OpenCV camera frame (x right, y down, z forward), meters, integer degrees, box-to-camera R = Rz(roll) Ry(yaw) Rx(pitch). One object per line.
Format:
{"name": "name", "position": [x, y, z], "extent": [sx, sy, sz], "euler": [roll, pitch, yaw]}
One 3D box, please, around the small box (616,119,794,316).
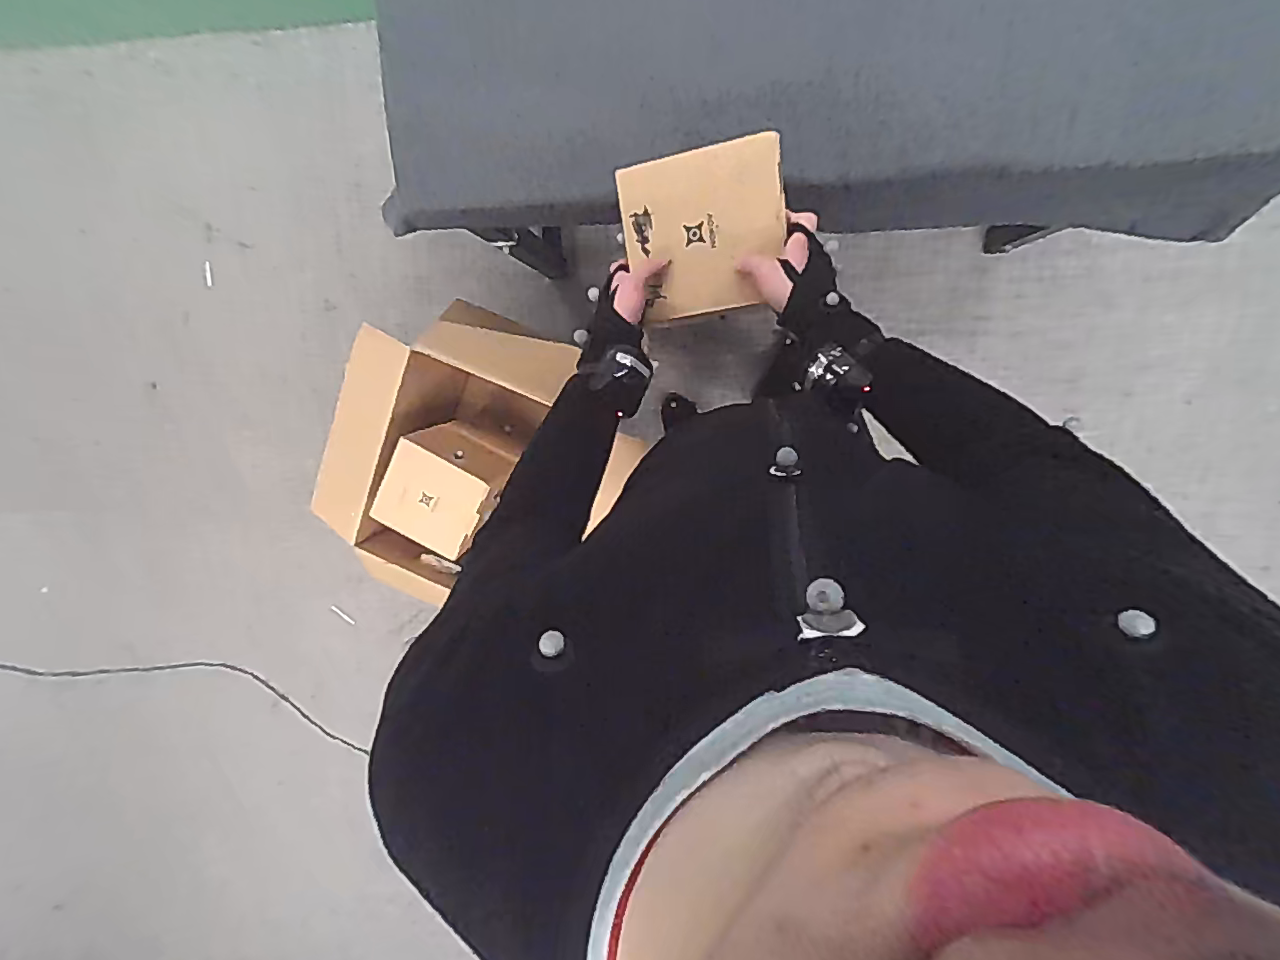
{"name": "small box", "position": [0.084, -0.294, 0.647], "extent": [0.179, 0.176, 0.168], "euler": [-5, 104, 14]}
